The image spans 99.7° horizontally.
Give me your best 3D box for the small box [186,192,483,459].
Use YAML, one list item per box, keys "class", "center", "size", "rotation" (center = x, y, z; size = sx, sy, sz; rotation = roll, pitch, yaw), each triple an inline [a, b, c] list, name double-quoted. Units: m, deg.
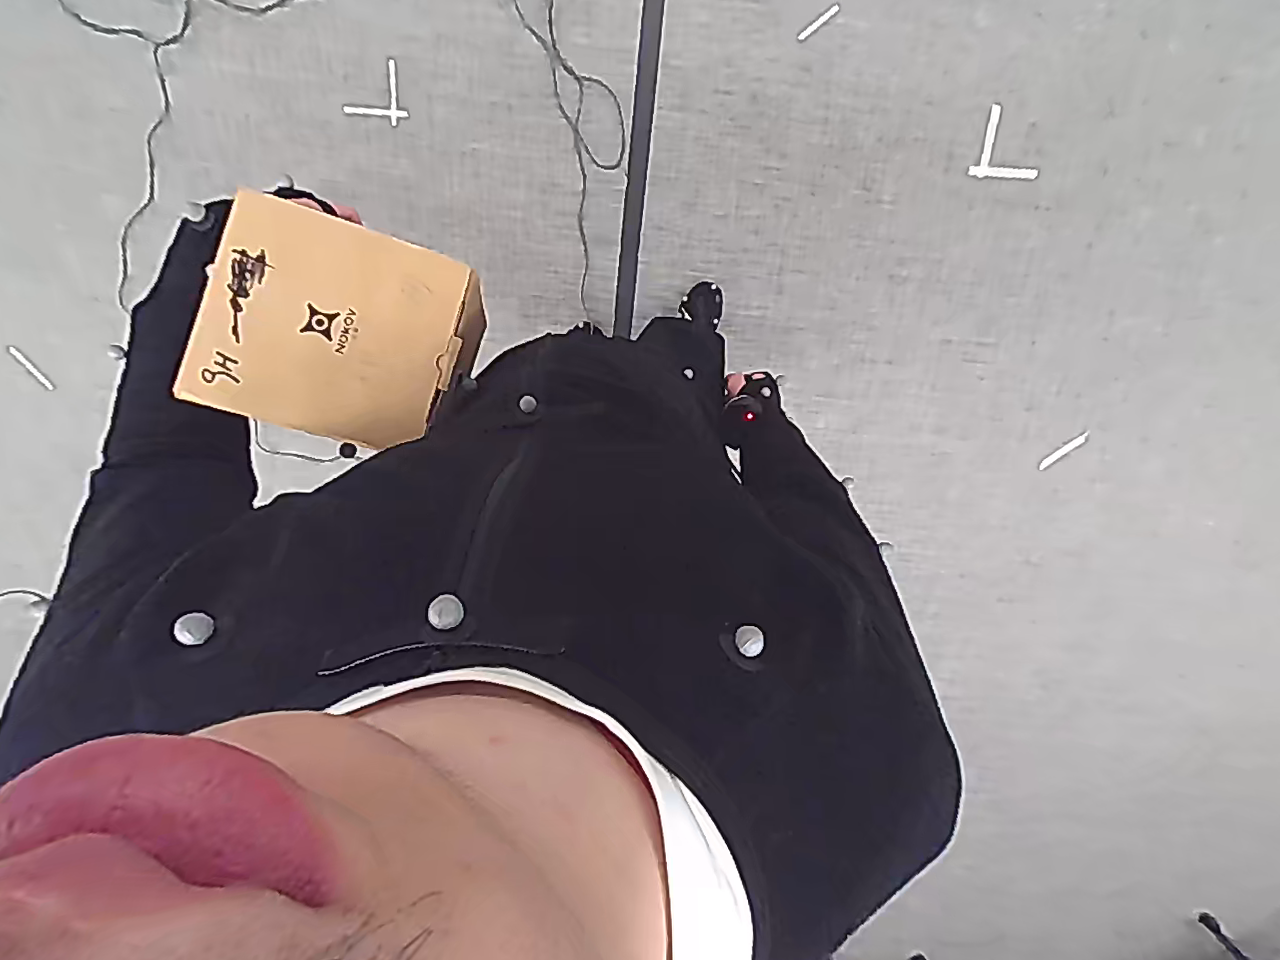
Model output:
- class: "small box"
  center: [-0.252, -0.119, 0.498]
  size: [0.179, 0.176, 0.168]
  rotation: [15, 87, -12]
